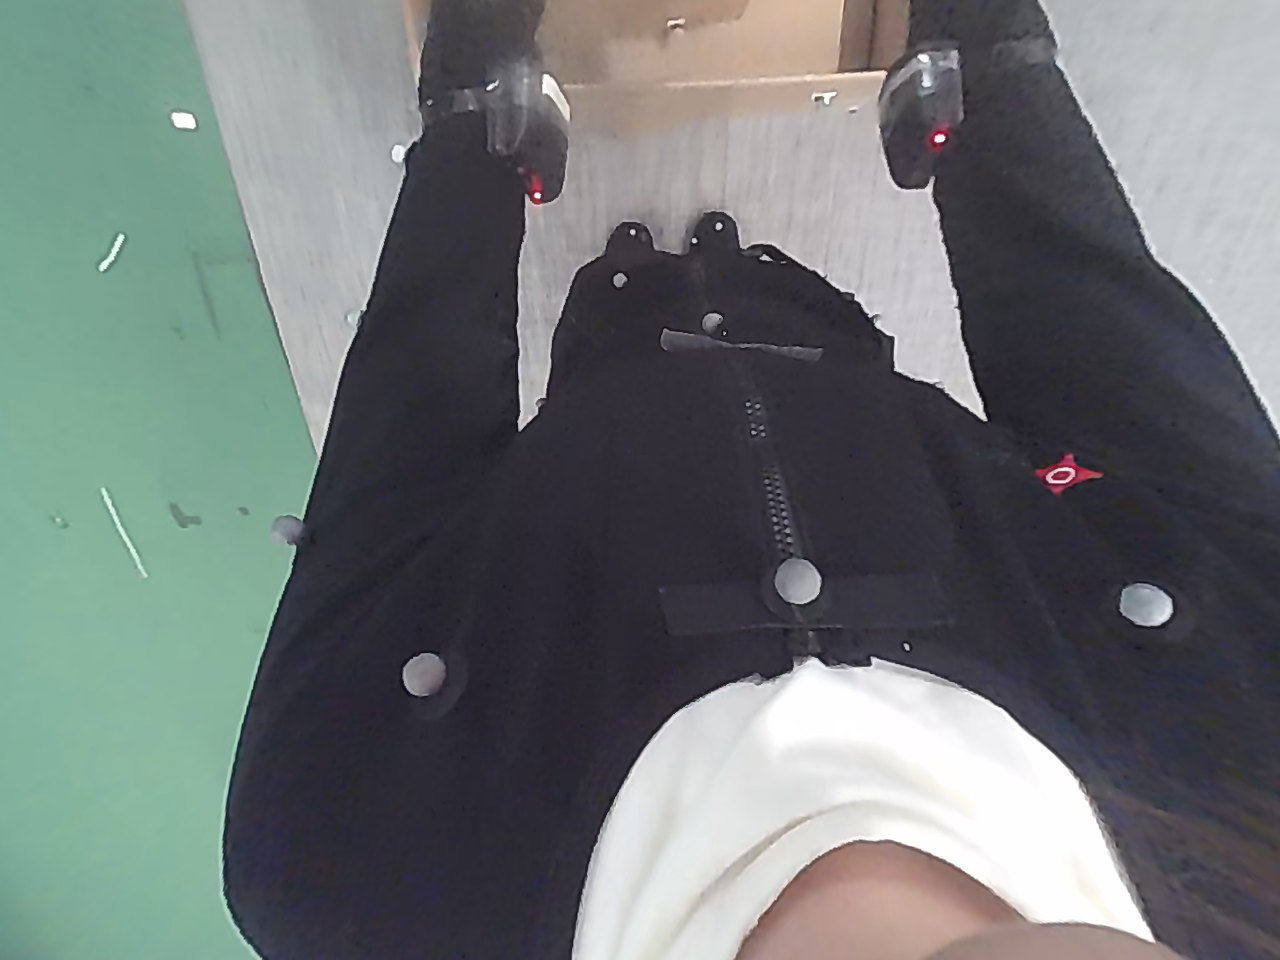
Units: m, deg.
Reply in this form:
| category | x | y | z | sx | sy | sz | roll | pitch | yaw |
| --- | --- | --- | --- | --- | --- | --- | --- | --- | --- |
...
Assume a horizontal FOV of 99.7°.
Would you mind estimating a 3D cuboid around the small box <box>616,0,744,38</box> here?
| category | x | y | z | sx | sy | sz | roll | pitch | yaw |
| --- | --- | --- | --- | --- | --- | --- | --- | --- | --- |
| small box | 0.043 | -0.673 | 0.647 | 0.168 | 0.176 | 0.179 | -6 | 116 | 6 |
